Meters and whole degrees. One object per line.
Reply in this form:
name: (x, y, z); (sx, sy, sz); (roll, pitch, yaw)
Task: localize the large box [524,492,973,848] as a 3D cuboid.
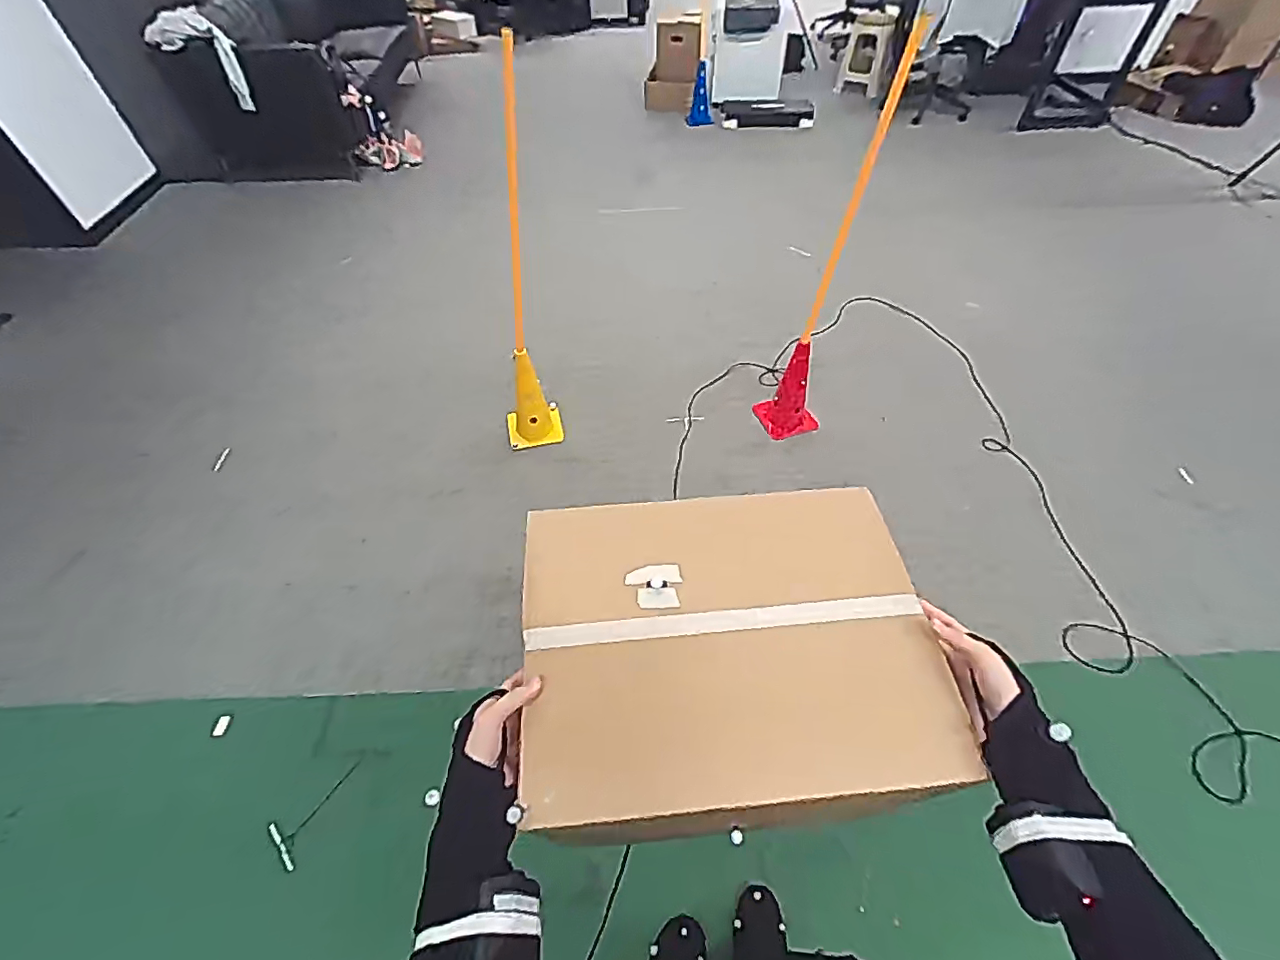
large box: (0.087, 0.244, 0.671); (0.408, 0.320, 0.320); (-5, 52, -3)
